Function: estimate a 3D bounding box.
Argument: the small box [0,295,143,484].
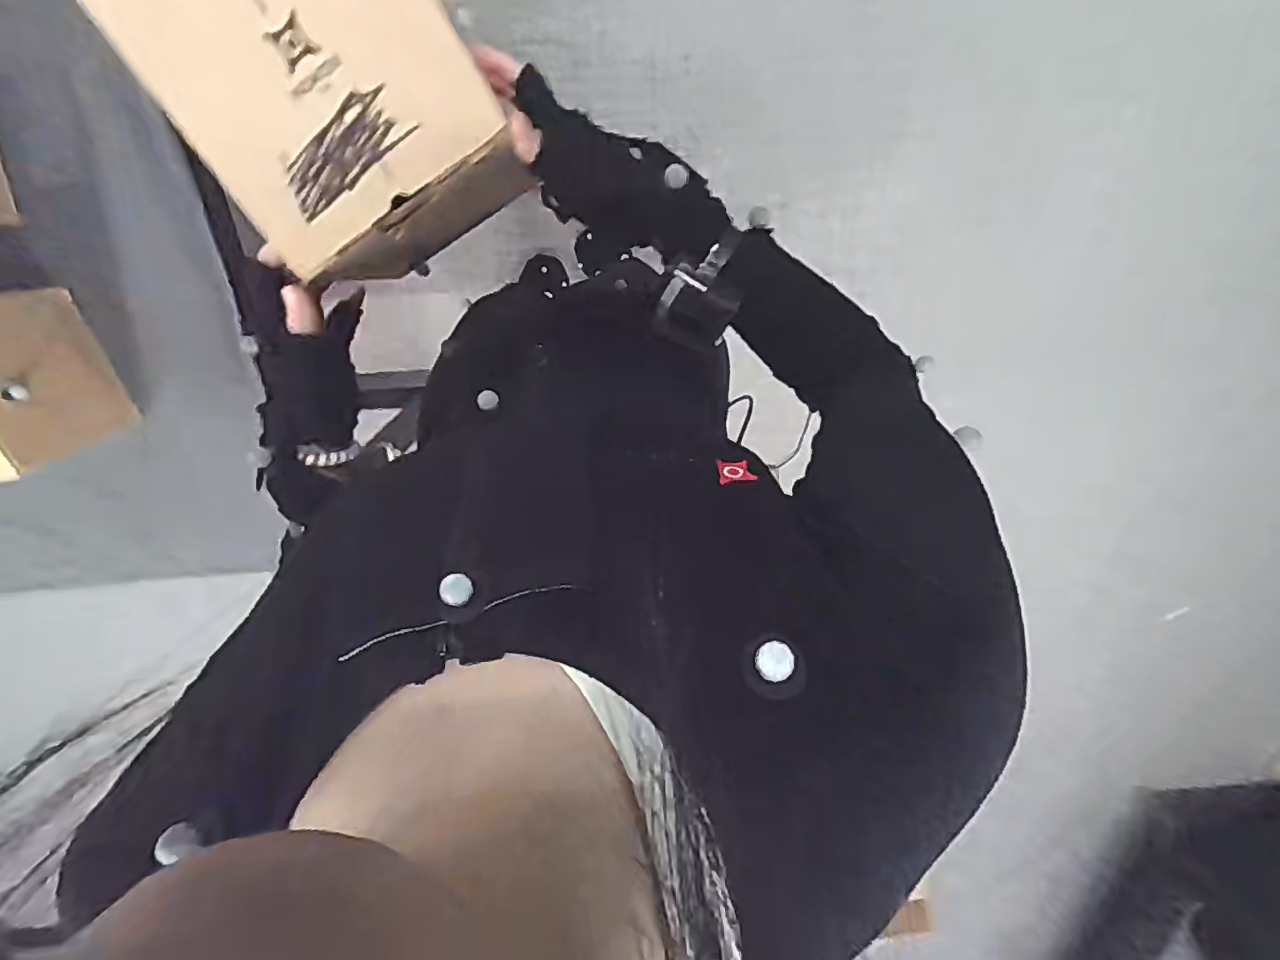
[{"bbox_3d":[-0.727,-0.100,0.595,0.168,0.176,0.179,-9,117,1],"label":"small box"}]

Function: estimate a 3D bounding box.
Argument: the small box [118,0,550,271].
[{"bbox_3d":[-0.179,-0.267,0.376,0.168,0.176,0.179,-29,108,7],"label":"small box"}]
